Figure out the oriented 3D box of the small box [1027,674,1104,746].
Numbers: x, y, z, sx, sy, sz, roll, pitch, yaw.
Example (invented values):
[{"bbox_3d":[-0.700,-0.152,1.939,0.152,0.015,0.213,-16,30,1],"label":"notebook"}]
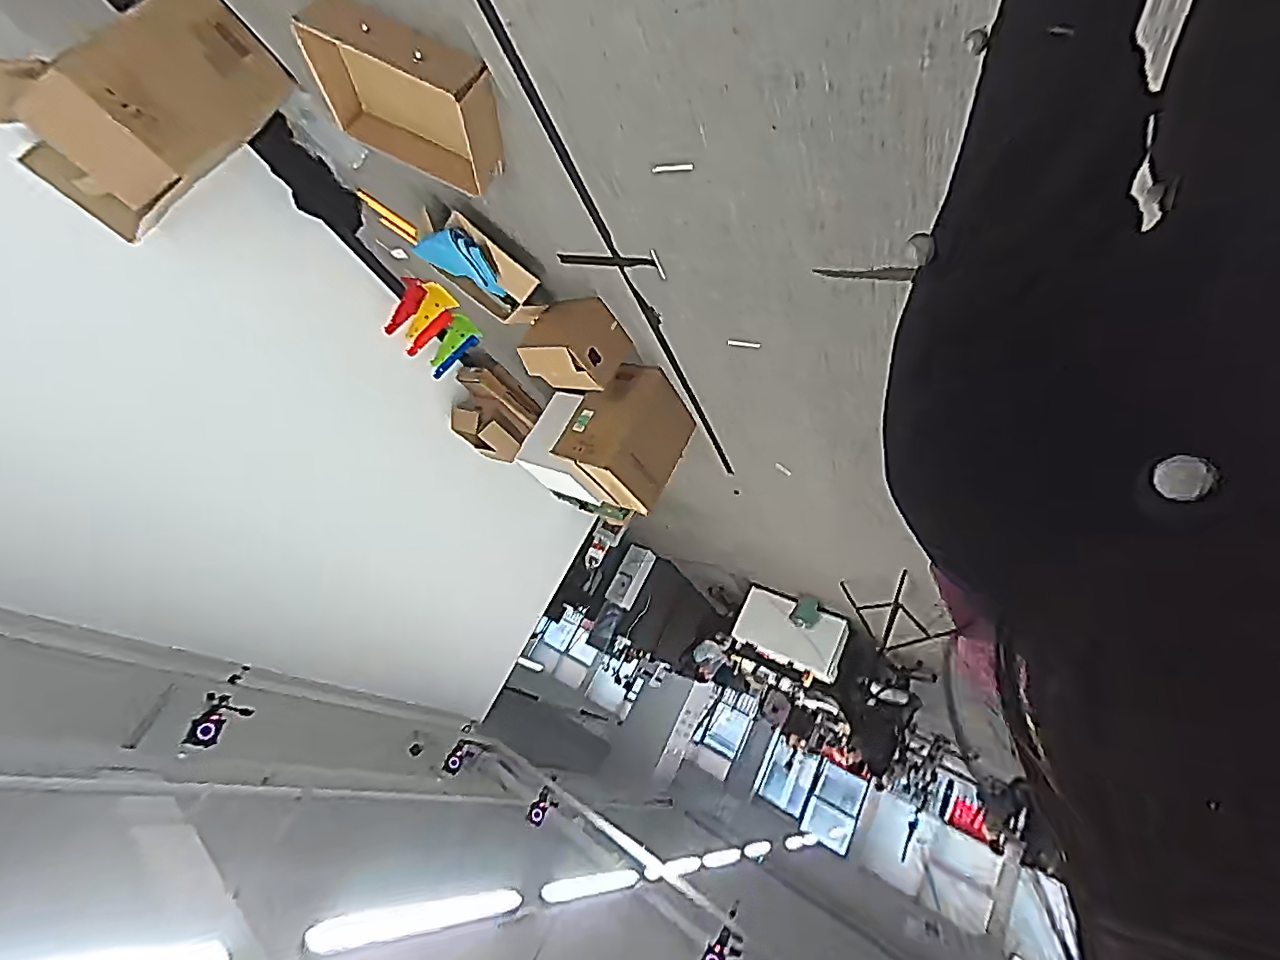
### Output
[{"bbox_3d":[1.483,0.795,1.888,0.179,0.176,0.168,14,158,39],"label":"small box"}]
